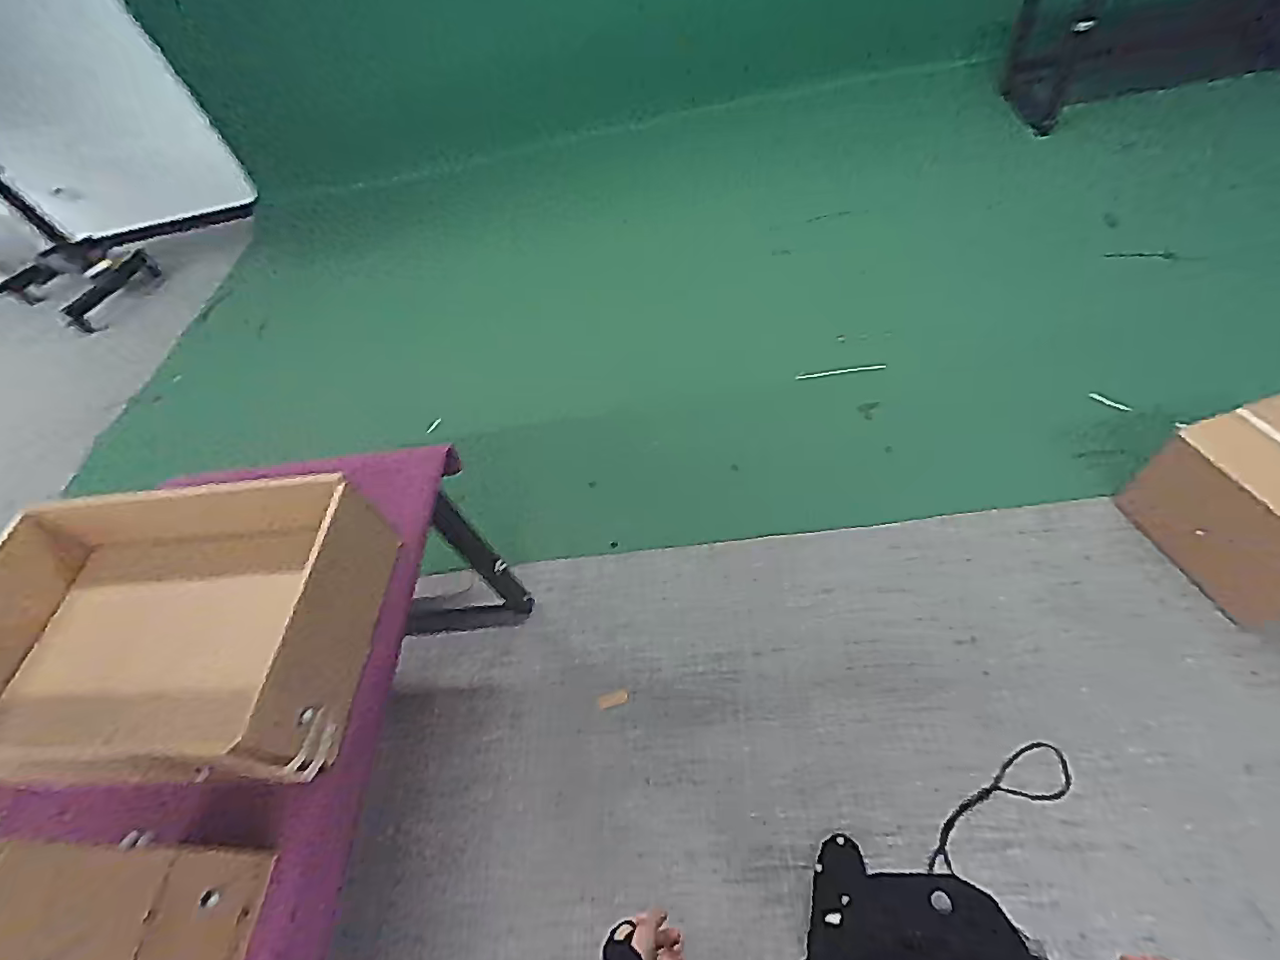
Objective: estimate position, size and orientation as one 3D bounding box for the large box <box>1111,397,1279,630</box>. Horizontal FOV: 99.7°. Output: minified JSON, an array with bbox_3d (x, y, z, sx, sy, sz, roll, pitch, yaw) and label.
[{"bbox_3d":[1.495,0.081,1.296,0.320,0.320,0.408,-18,51,-1],"label":"large box"}]

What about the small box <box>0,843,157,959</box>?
[{"bbox_3d":[-0.593,0.433,0.475,0.168,0.176,0.179,-7,52,9],"label":"small box"}]
